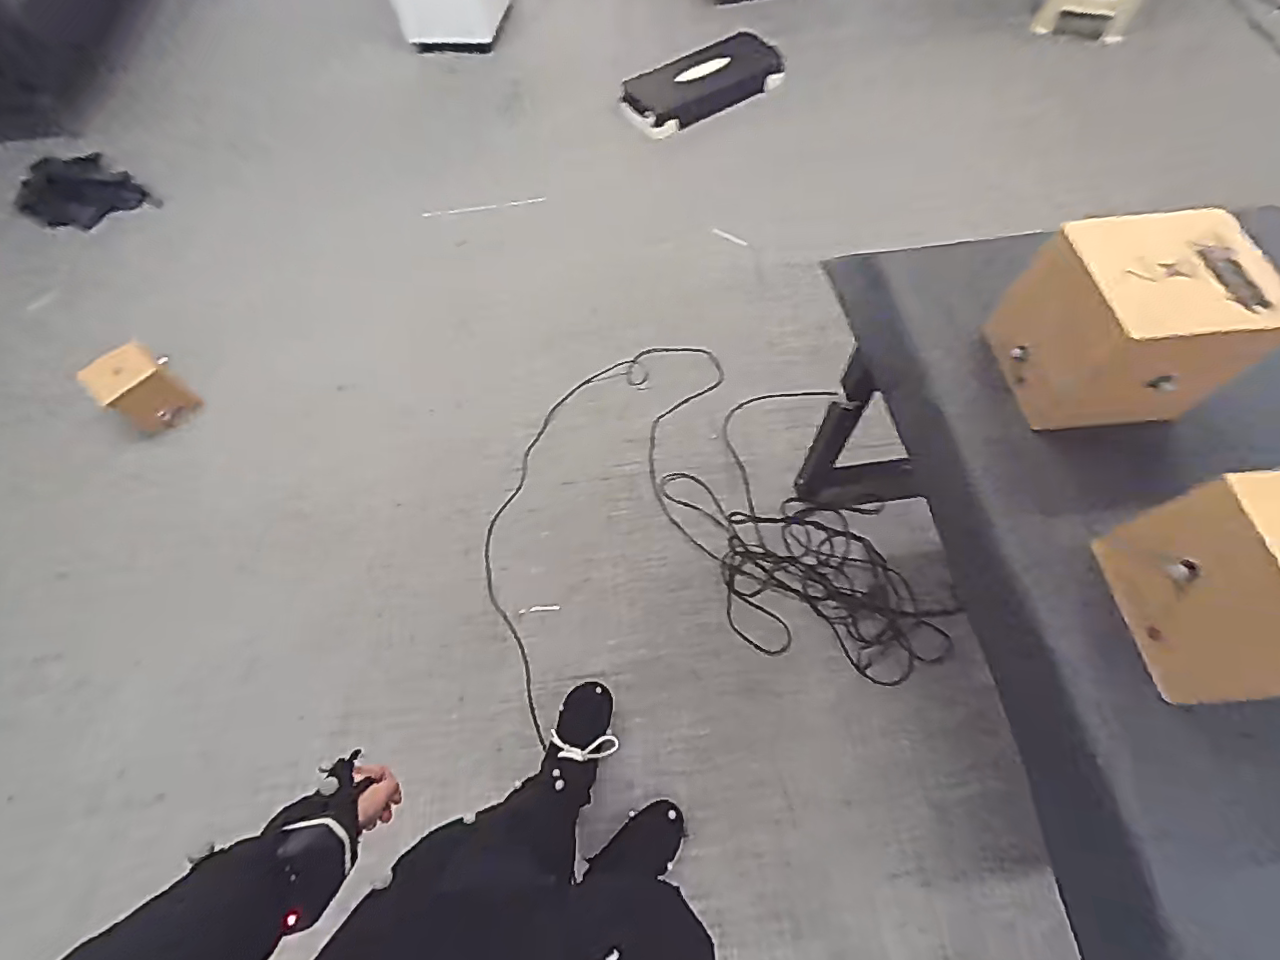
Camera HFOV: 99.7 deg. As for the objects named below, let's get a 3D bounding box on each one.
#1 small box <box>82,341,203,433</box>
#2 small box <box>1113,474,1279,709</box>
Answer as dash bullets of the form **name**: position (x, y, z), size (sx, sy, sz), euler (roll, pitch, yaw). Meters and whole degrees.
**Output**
- **small box**: position (-1.456, -0.268, 1.591), size (0.179, 0.176, 0.168), euler (37, 72, 19)
- **small box**: position (0.575, 0.101, 0.472), size (0.179, 0.176, 0.168), euler (-4, 63, 0)
